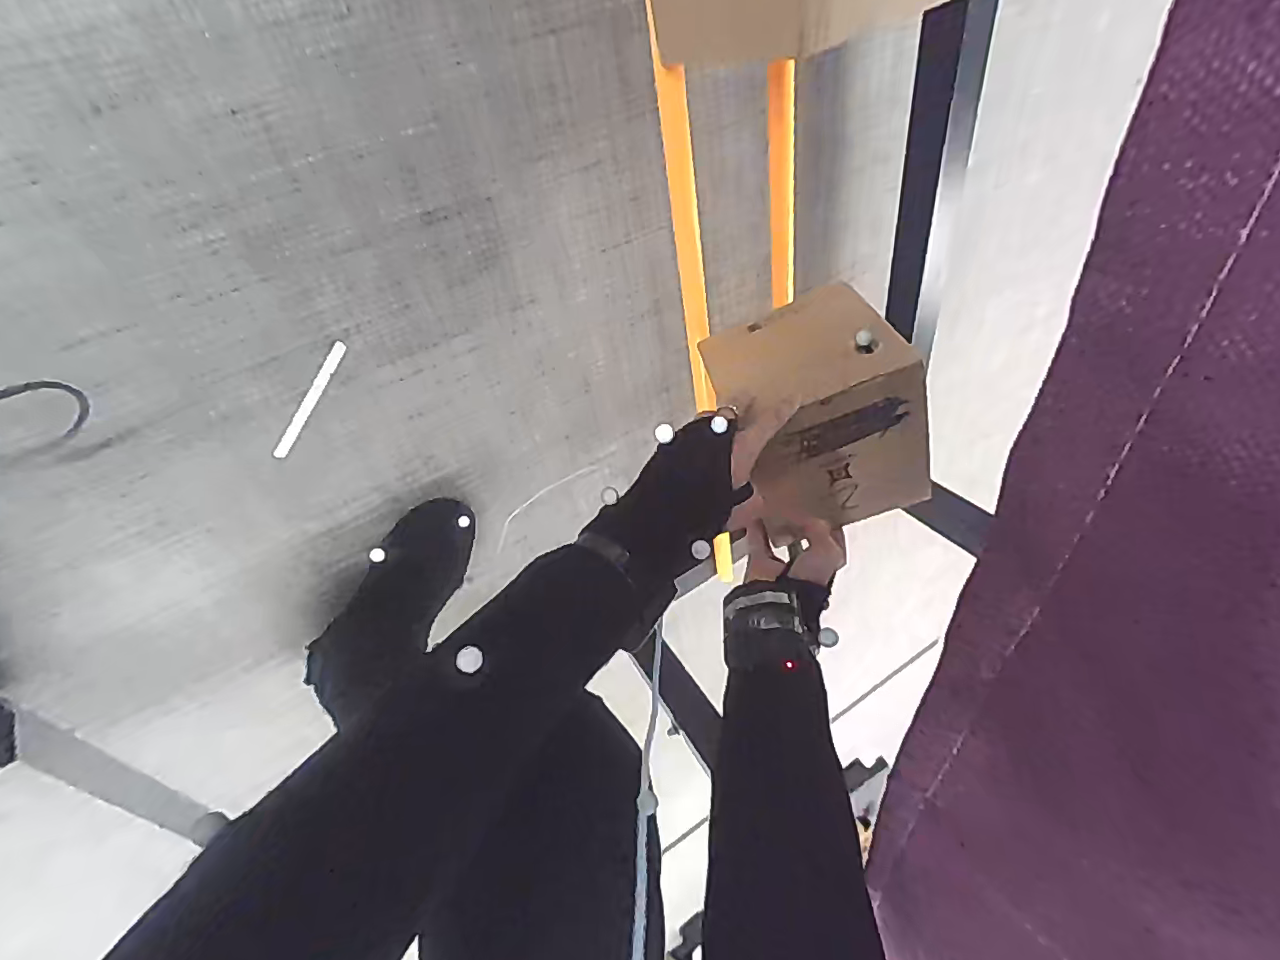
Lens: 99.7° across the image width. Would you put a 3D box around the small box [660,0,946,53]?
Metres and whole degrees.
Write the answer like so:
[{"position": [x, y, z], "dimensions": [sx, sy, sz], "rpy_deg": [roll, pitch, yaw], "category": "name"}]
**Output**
[{"position": [0.111, -0.396, 0.337], "dimensions": [0.168, 0.176, 0.179], "rpy_deg": [-30, 135, -14], "category": "small box"}]
